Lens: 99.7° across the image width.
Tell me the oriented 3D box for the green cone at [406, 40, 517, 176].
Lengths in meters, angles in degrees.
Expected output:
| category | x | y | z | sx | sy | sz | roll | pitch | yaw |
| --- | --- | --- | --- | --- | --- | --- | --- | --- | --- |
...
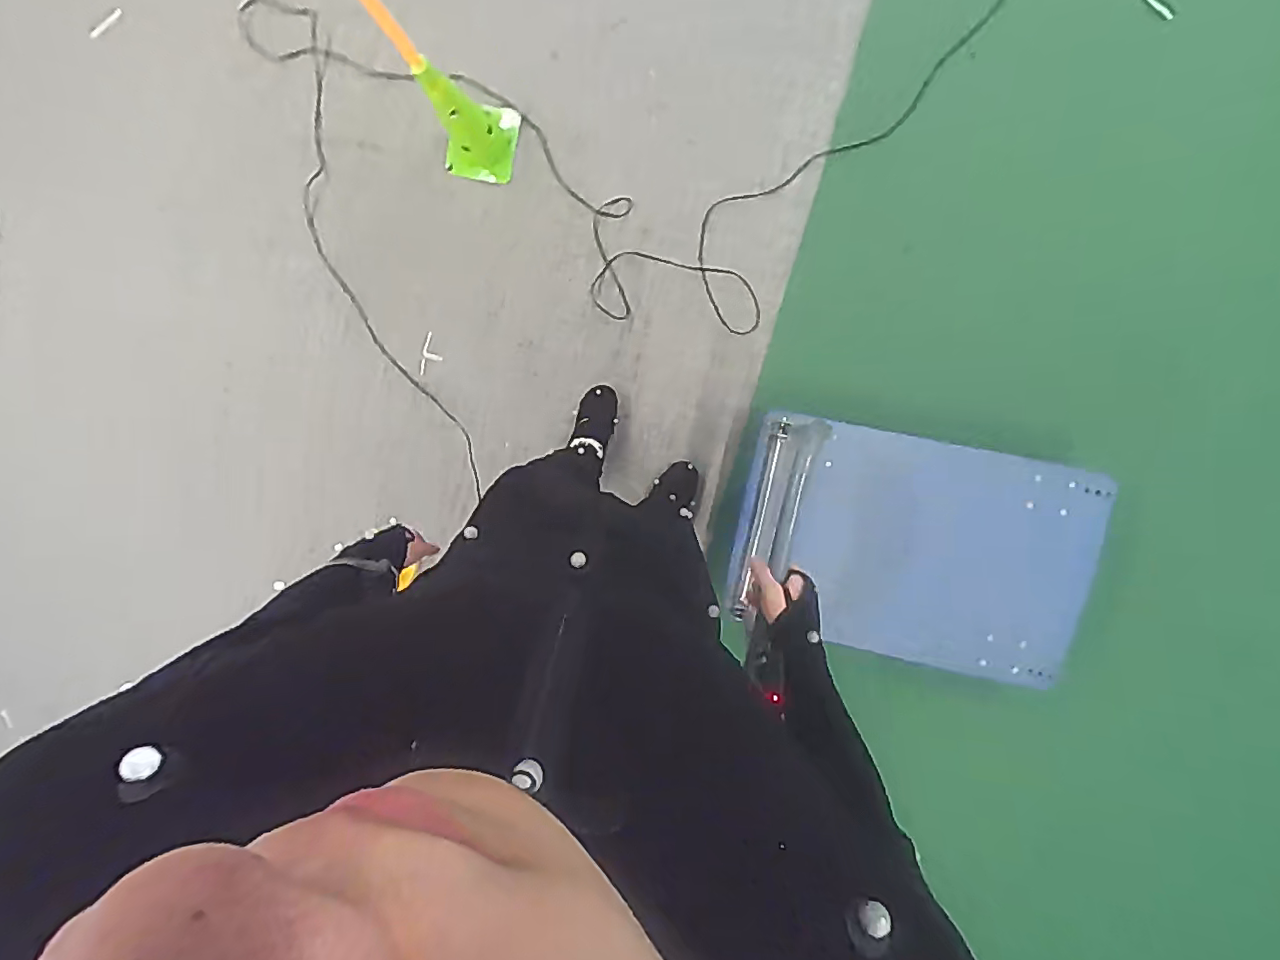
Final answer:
| category | x | y | z | sx | sy | sz | roll | pitch | yaw |
| --- | --- | --- | --- | --- | --- | --- | --- | --- | --- |
| green cone | -0.477 | -0.964 | 1.371 | 0.200 | 0.368 | 0.202 | 13 | 97 | 5 |
